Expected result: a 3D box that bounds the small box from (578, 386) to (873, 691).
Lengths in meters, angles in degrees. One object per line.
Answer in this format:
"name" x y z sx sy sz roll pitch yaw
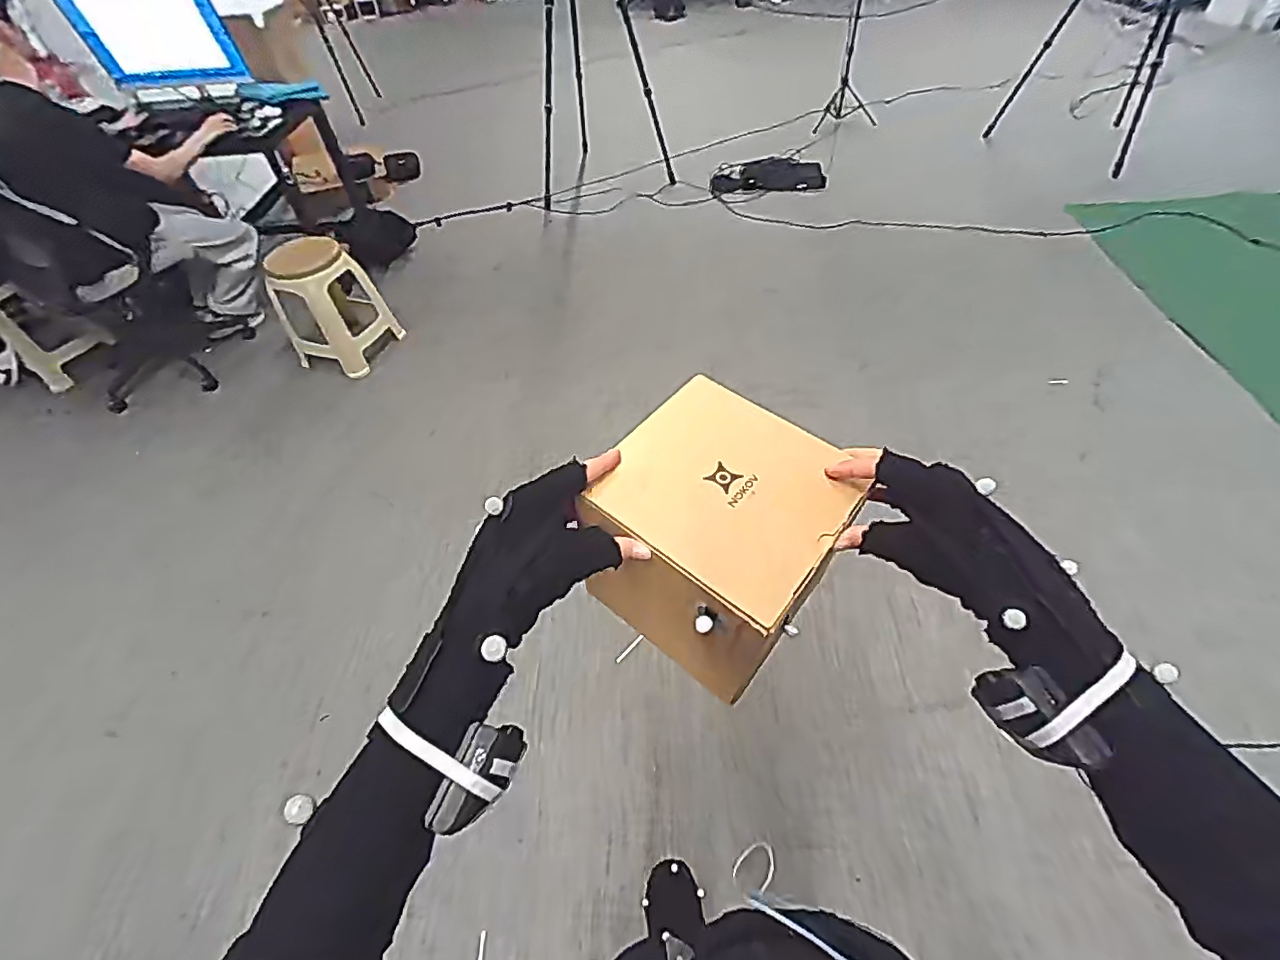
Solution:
"small box" 0.064 0.055 0.482 0.179 0.176 0.168 35 59 21
